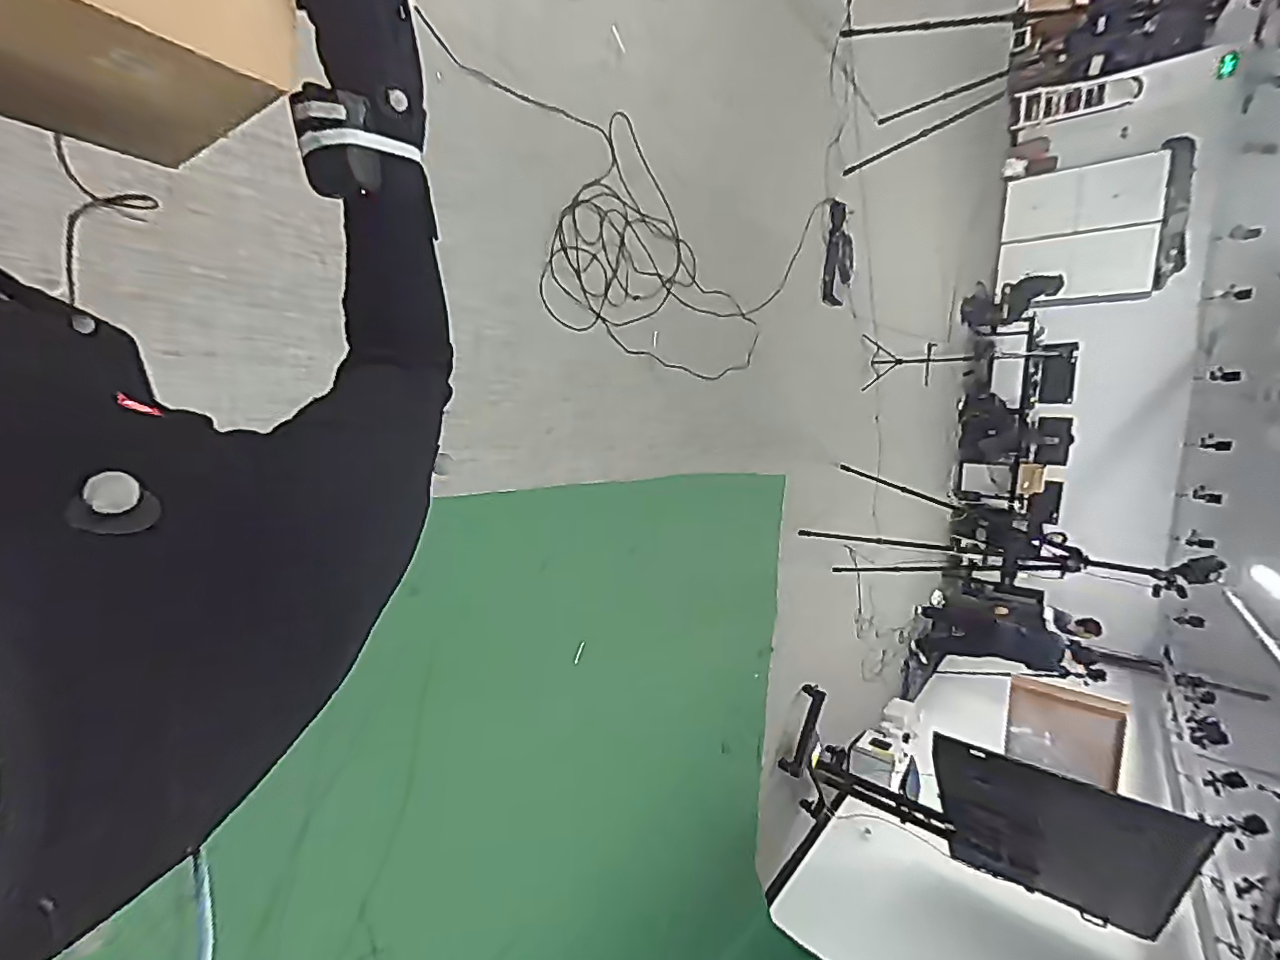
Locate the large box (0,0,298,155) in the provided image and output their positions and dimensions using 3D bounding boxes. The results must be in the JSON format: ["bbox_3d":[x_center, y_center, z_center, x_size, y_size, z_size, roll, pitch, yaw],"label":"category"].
[{"bbox_3d":[-0.459,-0.434,0.281,0.408,0.320,0.320,-5,106,-51],"label":"large box"}]
